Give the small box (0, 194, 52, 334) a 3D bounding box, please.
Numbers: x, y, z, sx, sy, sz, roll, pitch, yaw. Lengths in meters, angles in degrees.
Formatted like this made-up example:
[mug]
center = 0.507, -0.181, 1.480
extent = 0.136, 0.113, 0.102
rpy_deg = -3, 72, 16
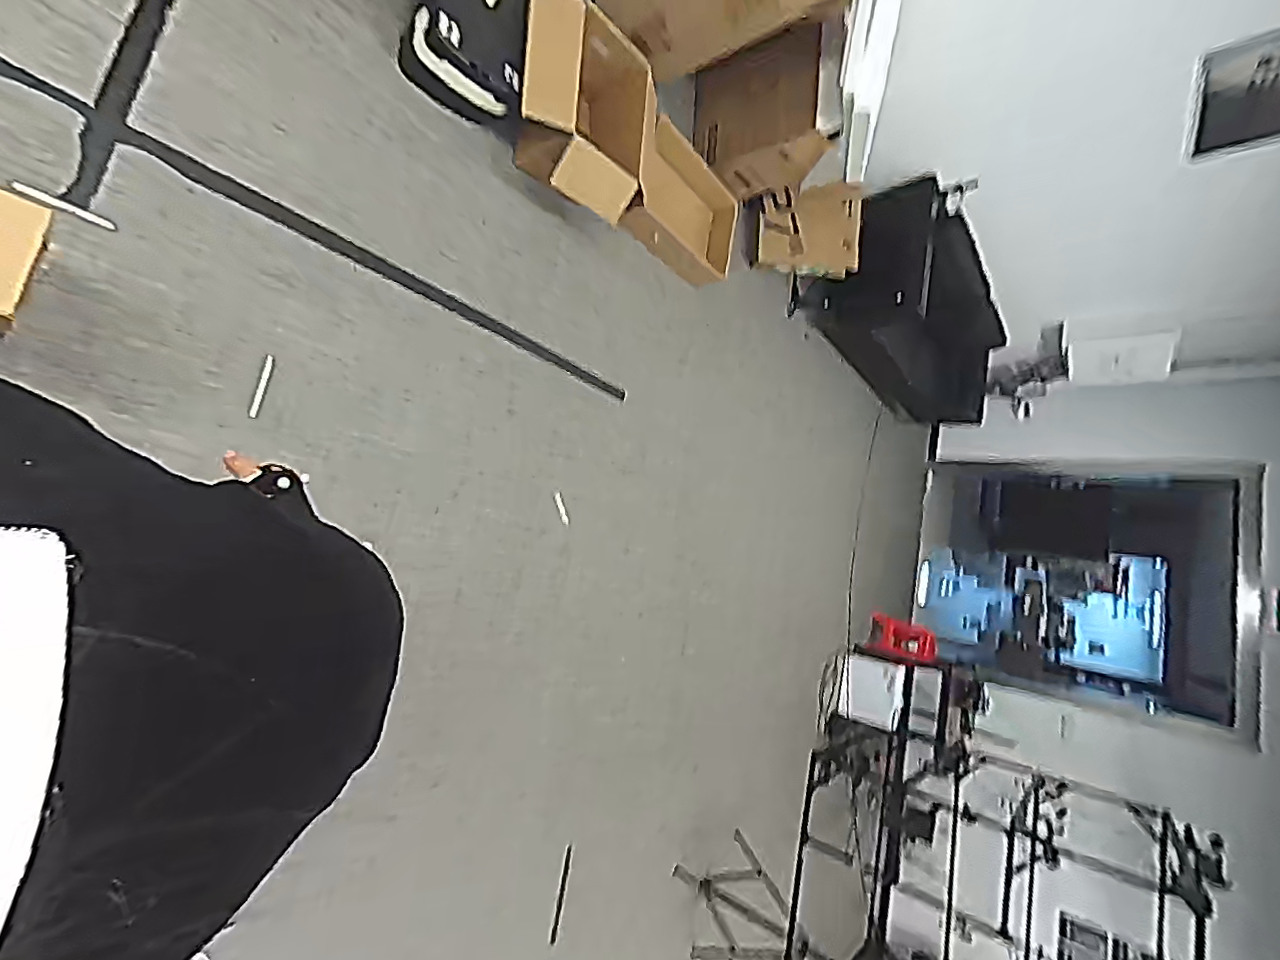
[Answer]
[small box]
center = -1.013, -0.335, 0.791
extent = 0.168, 0.176, 0.179
rpy_deg = 22, 76, -47
